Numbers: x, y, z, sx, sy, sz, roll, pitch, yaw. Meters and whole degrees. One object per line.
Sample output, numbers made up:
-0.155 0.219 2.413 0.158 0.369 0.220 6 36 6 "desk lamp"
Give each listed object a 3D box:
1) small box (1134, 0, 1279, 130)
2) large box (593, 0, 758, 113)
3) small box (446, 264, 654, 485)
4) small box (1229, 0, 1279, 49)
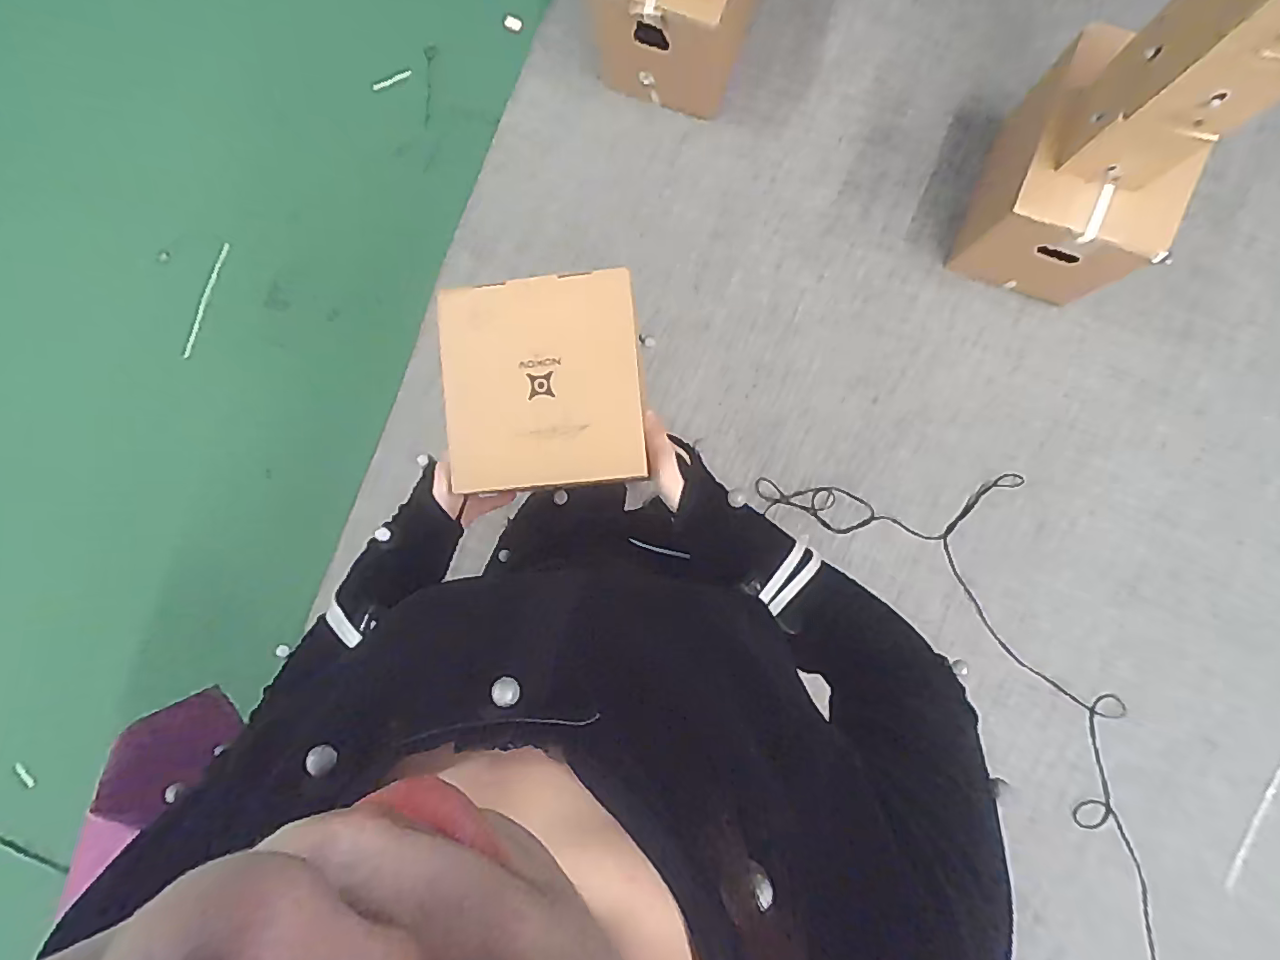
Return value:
0.922 -0.679 0.830 0.168 0.176 0.179 13 93 6 "small box"
0.112 -1.208 1.304 0.320 0.320 0.408 22 92 5 "large box"
-0.075 -0.088 0.533 0.168 0.176 0.179 -4 89 4 "small box"
0.902 -0.679 0.665 0.168 0.176 0.179 13 93 7 "small box"
